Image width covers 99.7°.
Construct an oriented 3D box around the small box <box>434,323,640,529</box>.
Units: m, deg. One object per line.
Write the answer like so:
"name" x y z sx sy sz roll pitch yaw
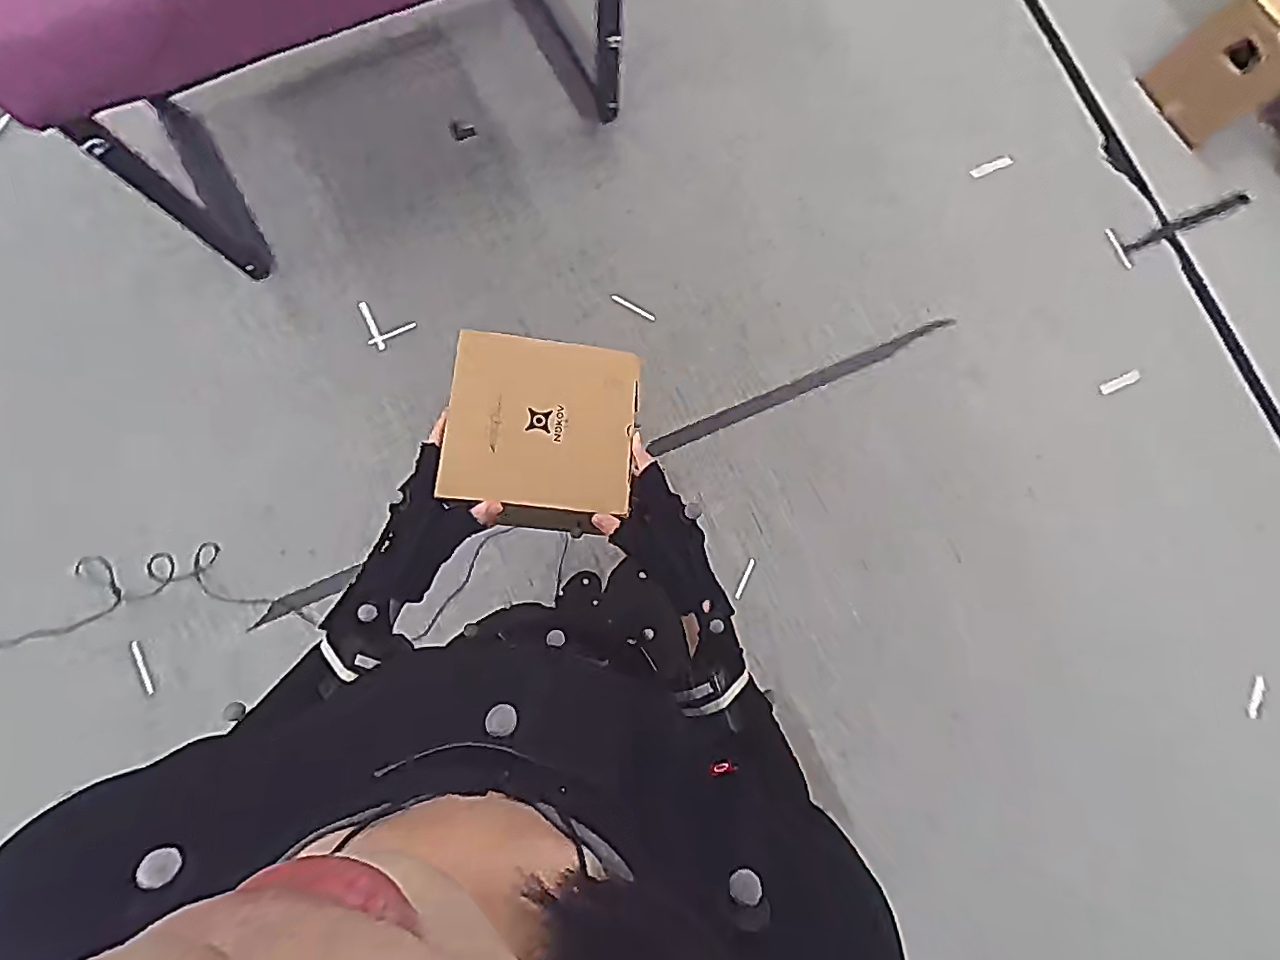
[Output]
"small box" -0.101 -0.043 0.576 0.179 0.176 0.168 4 75 -7
